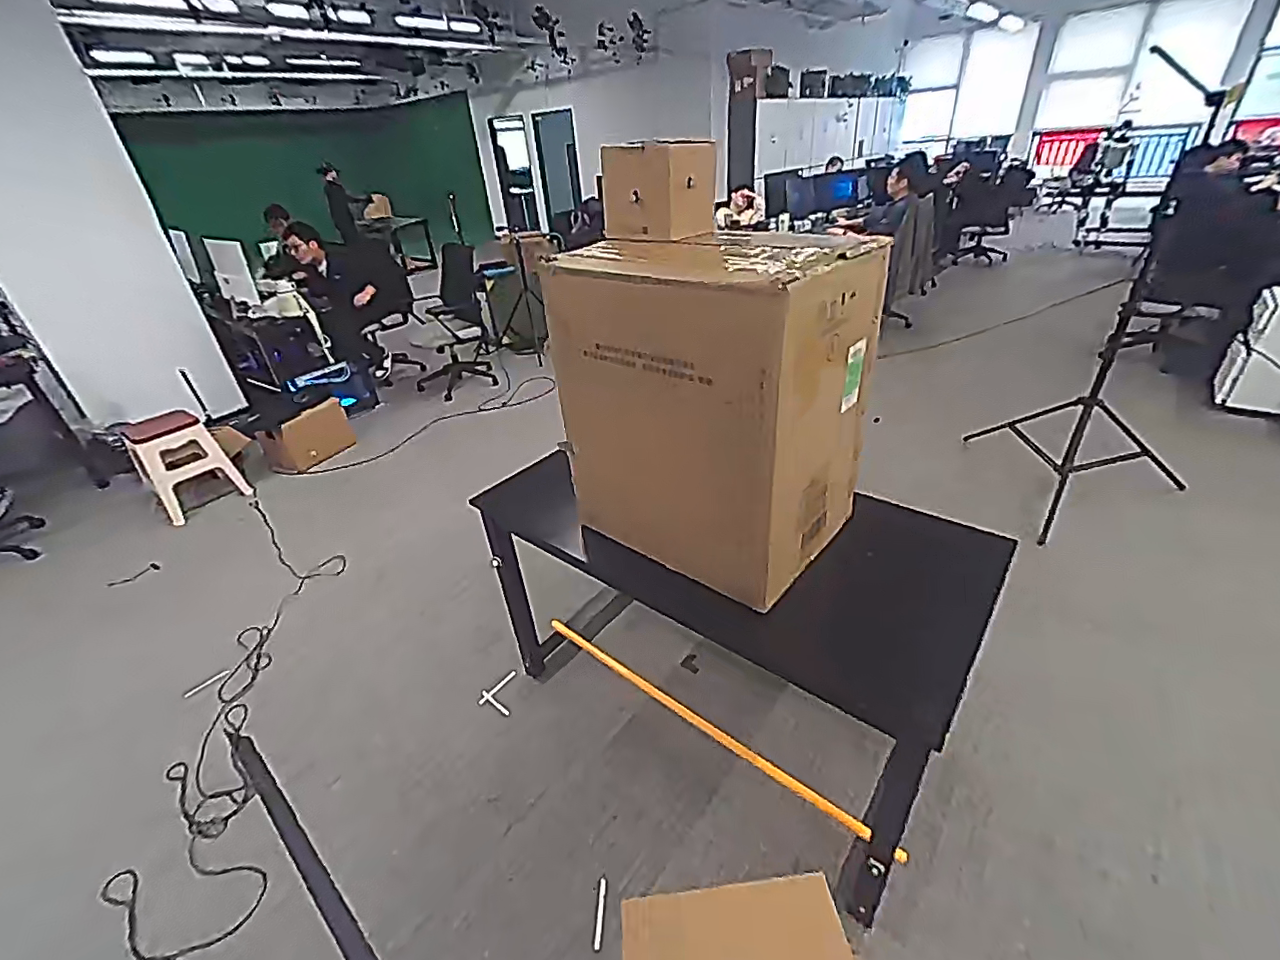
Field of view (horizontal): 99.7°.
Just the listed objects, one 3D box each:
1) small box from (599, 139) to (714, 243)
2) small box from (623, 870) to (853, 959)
[{"bbox_3d":[0.039,-0.585,1.100,0.168,0.176,0.179,19,37,31],"label":"small box"},{"bbox_3d":[0.079,0.431,0.389,0.168,0.176,0.179,-8,25,-1],"label":"small box"}]
